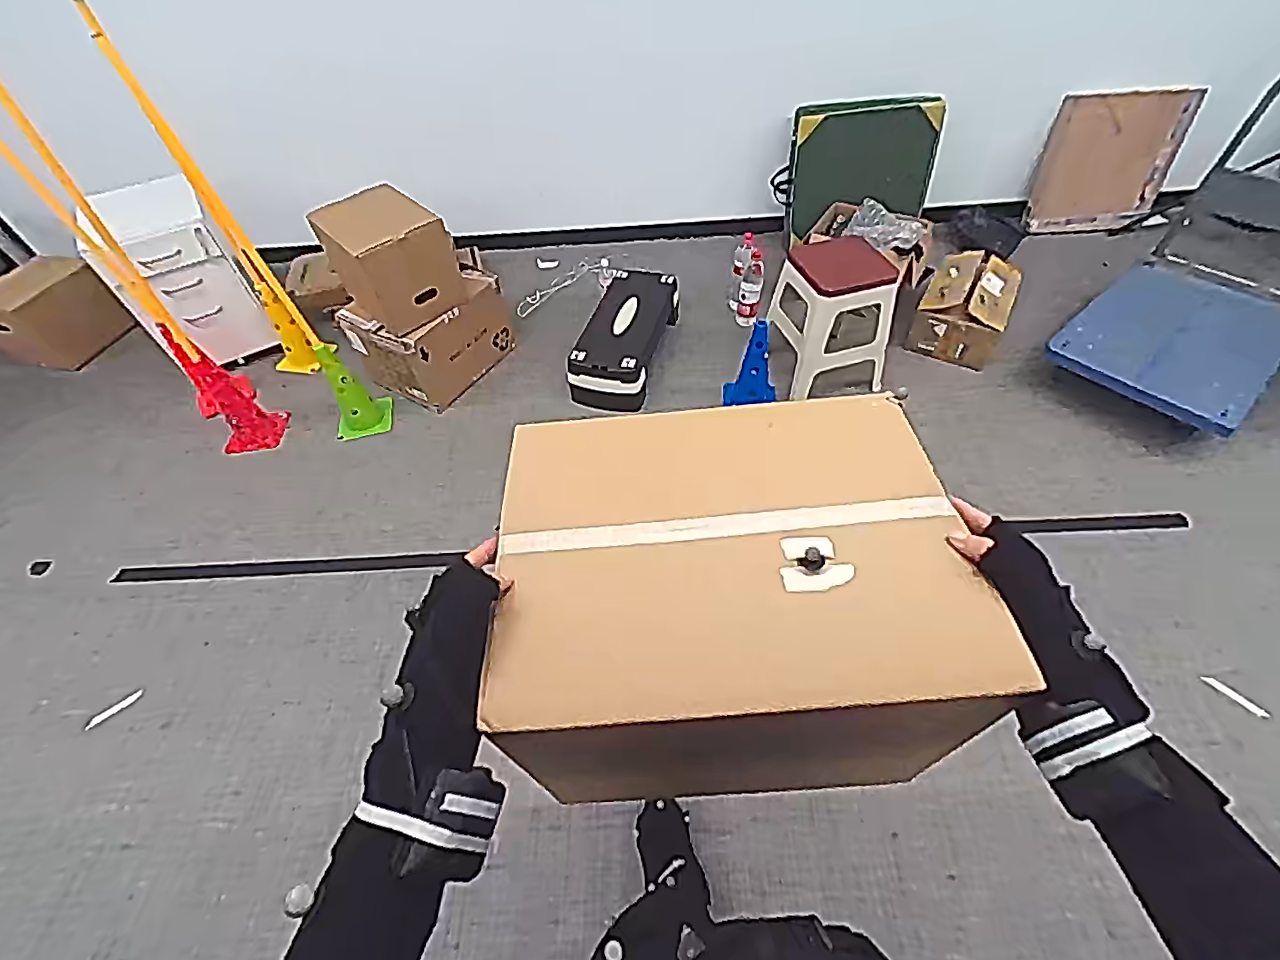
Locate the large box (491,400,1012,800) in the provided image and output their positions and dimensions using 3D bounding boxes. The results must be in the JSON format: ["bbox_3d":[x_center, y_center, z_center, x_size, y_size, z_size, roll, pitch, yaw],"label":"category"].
[{"bbox_3d":[0.083,0.142,0.612,0.408,0.320,0.320,-5,50,1],"label":"large box"}]
